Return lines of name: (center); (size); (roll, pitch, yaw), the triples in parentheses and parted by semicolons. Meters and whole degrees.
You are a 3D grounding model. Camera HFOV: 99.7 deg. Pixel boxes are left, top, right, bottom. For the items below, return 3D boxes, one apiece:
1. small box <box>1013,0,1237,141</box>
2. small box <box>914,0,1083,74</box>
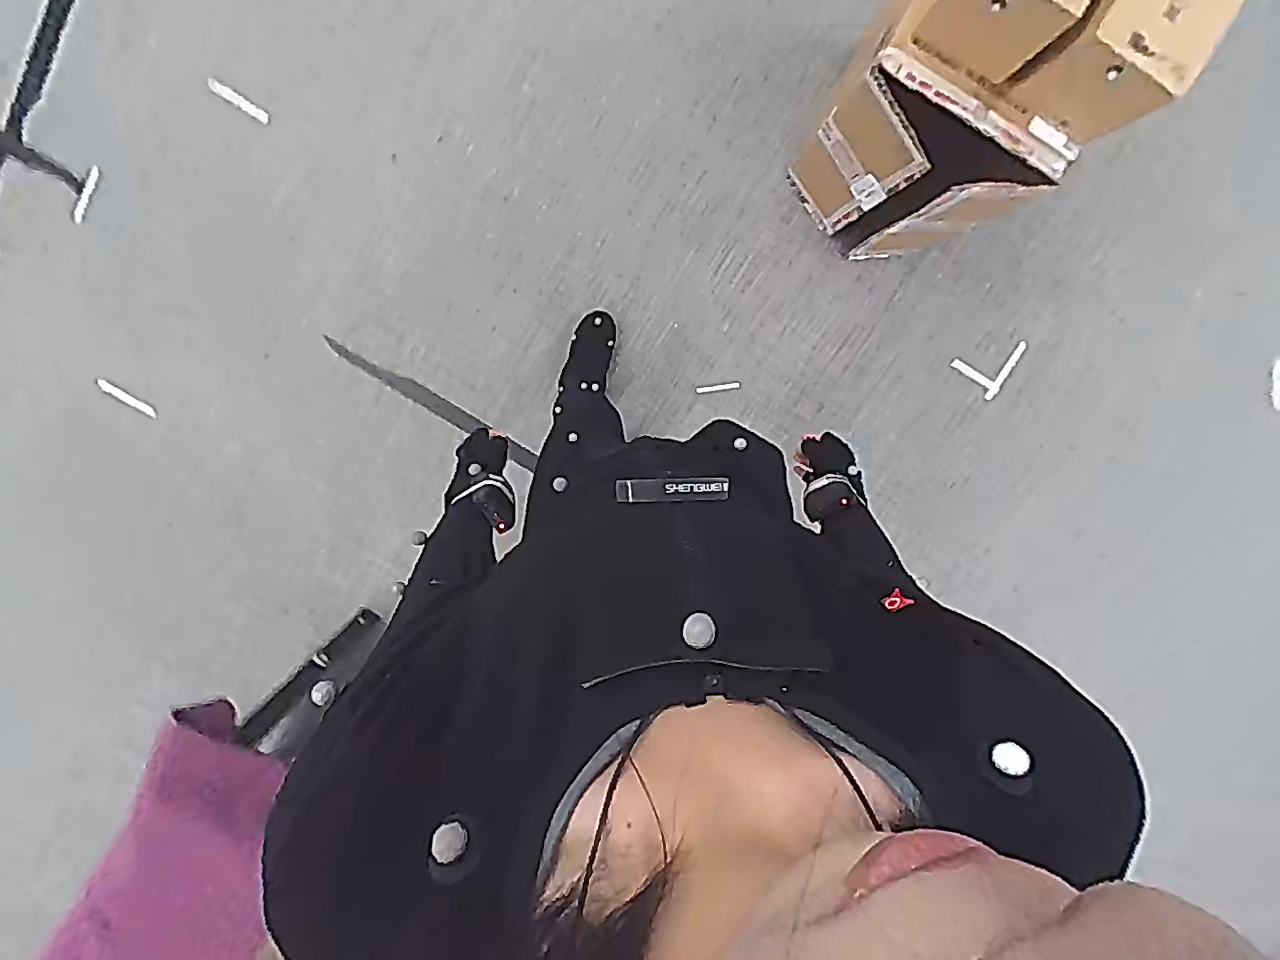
small box: (0.729, -0.672, 0.826); (0.168, 0.176, 0.179); (27, 97, -9)
small box: (0.551, -0.758, 0.802); (0.179, 0.176, 0.168); (24, 98, -5)
